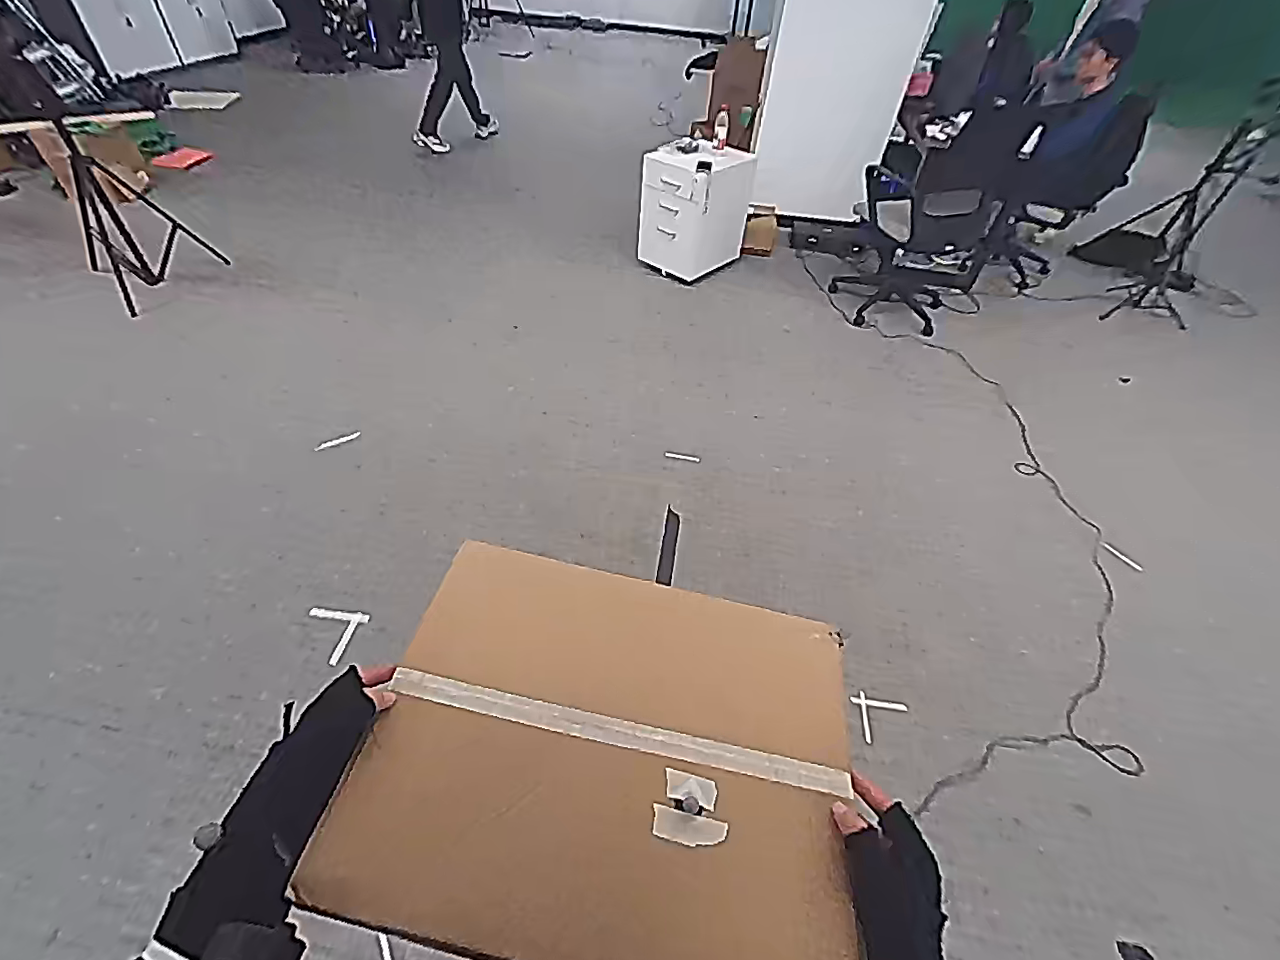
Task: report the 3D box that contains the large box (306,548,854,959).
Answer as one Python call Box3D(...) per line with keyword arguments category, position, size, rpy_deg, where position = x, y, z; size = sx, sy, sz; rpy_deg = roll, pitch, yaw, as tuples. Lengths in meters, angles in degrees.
Box3D(category="large box", position=(-0.041, 0.320, 0.584), size=(0.408, 0.320, 0.320), rpy_deg=(13, 47, 1))
